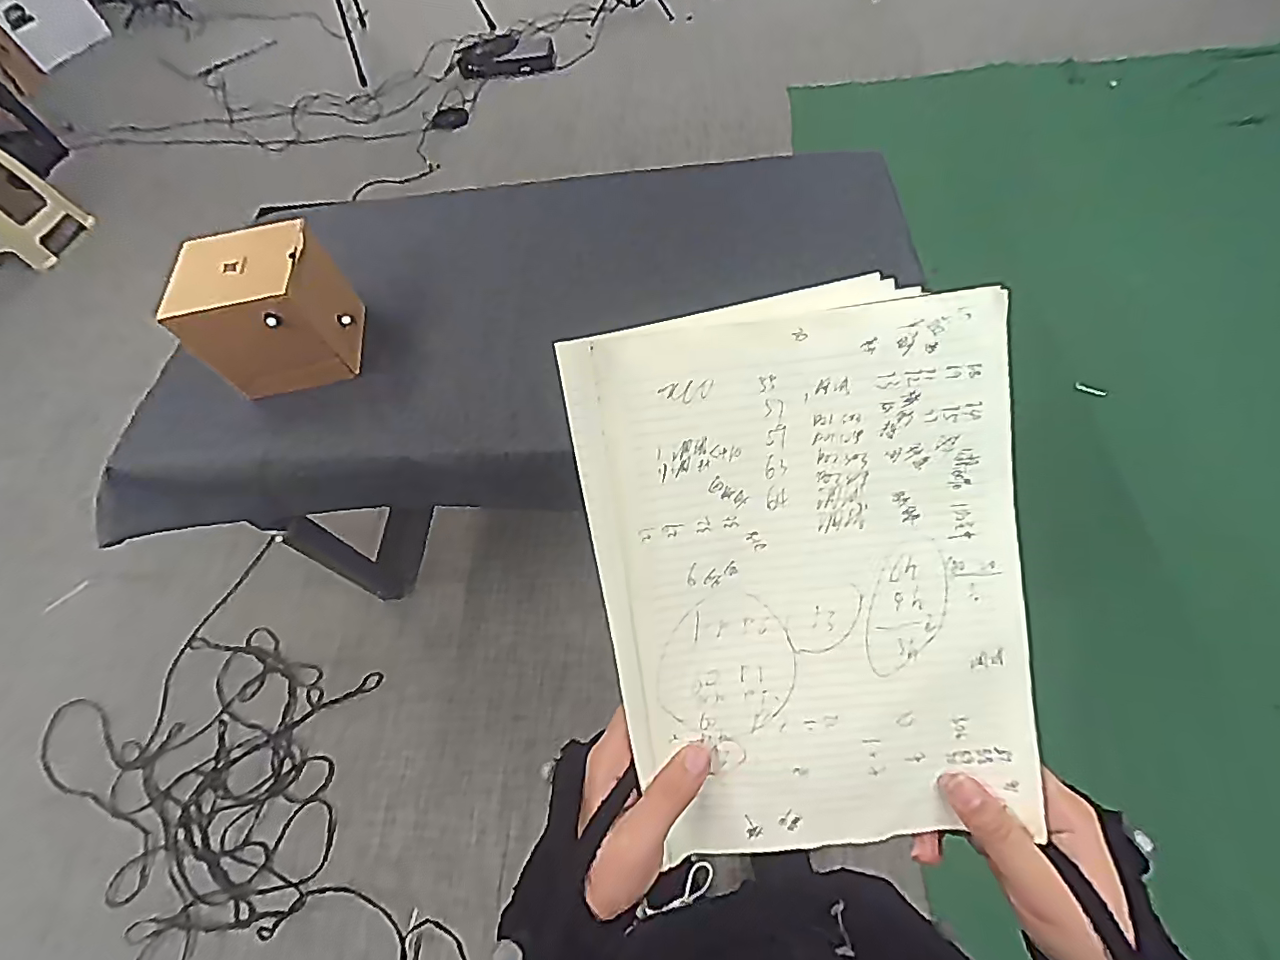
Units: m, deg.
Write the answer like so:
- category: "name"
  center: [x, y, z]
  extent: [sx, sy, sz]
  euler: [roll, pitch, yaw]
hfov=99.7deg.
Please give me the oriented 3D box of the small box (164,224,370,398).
- category: "small box"
  center: [-0.539, -0.245, 0.809]
  extent: [0.179, 0.176, 0.168]
  euler: [-12, 59, -1]
